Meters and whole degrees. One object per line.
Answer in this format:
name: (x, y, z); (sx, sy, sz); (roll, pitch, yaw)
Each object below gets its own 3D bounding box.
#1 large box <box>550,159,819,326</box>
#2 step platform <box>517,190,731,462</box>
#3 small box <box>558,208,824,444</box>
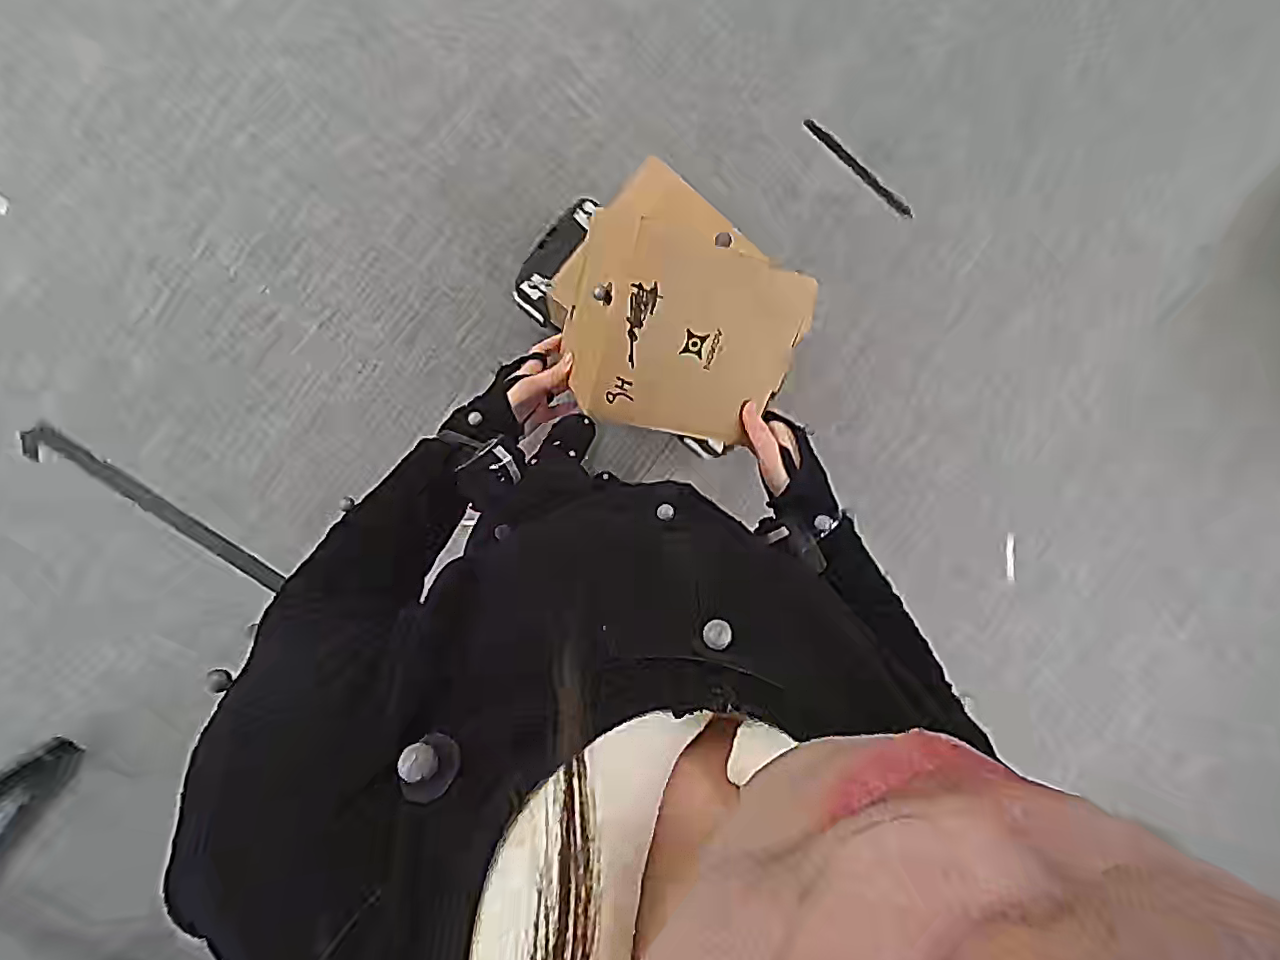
large box: (0.073, -0.339, 1.120); (0.408, 0.320, 0.320); (39, 90, -8)
step platform: (0.020, -0.362, 1.352); (0.684, 0.204, 0.286); (44, 89, -9)
small box: (0.033, -0.153, 0.524); (0.179, 0.176, 0.168); (8, 114, -23)
